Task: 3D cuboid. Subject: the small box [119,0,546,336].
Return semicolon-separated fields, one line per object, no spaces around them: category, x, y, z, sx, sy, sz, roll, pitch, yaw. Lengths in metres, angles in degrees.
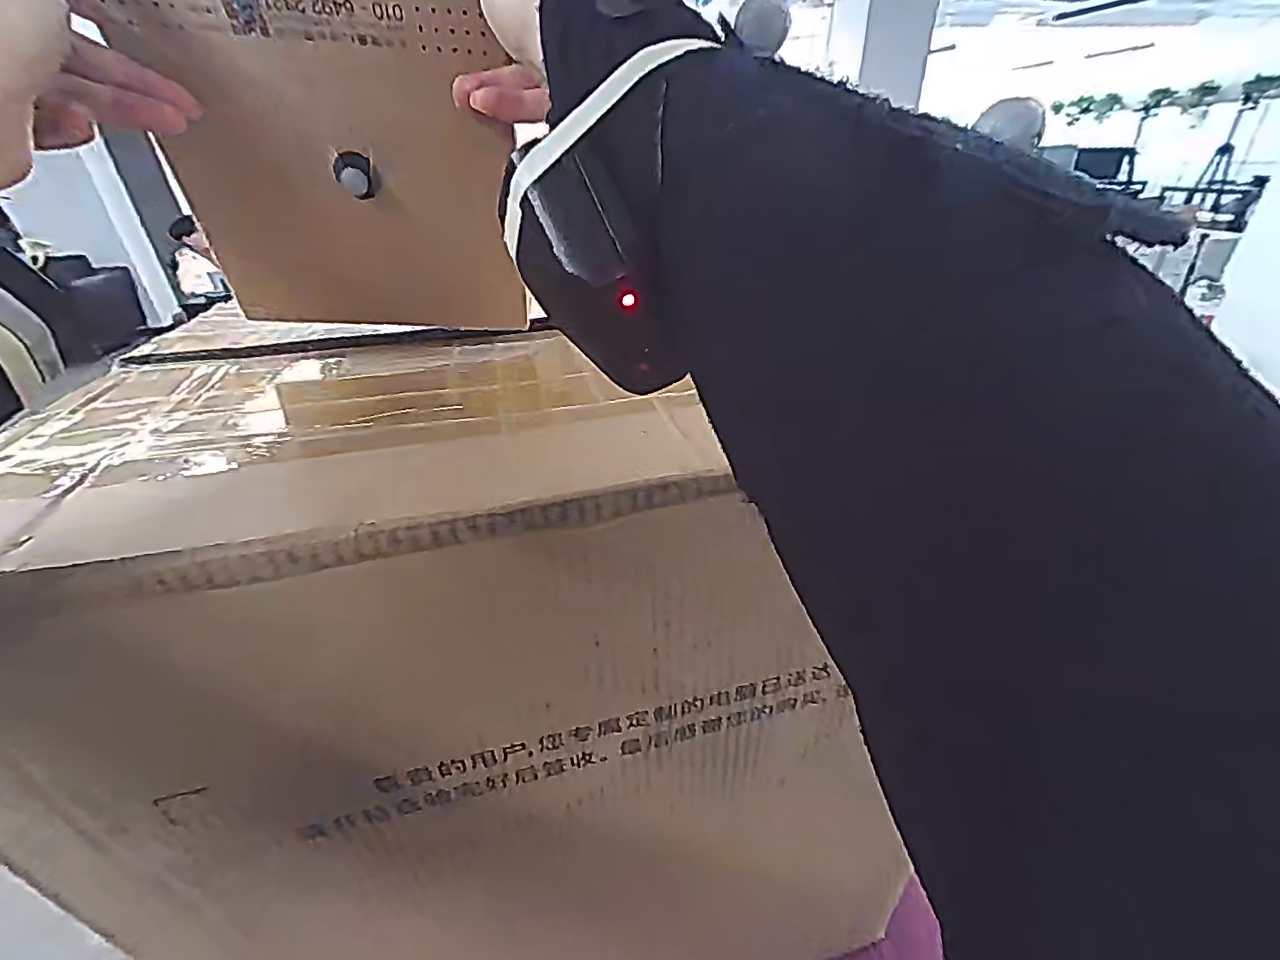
small box;-0.146;-0.209;0.330;0.168;0.176;0.179;0;49;-7
